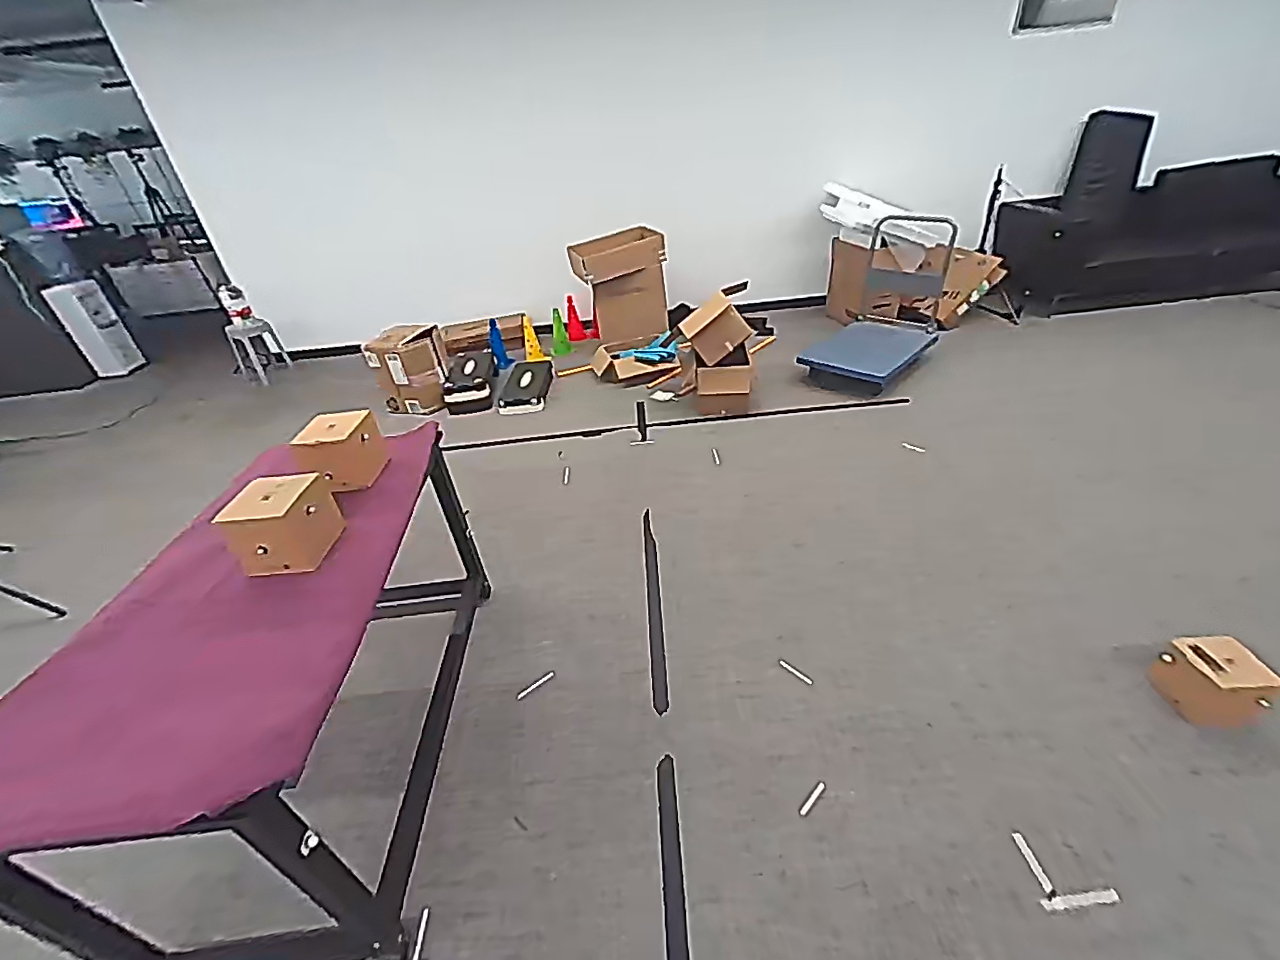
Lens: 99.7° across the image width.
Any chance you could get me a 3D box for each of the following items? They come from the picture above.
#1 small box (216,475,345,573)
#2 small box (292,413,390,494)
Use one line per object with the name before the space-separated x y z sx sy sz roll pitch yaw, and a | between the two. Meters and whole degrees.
small box | -0.845 0.110 1.296 0.168 0.176 0.179 -5 33 2
small box | -0.858 -0.076 1.575 0.168 0.176 0.179 -6 35 3
